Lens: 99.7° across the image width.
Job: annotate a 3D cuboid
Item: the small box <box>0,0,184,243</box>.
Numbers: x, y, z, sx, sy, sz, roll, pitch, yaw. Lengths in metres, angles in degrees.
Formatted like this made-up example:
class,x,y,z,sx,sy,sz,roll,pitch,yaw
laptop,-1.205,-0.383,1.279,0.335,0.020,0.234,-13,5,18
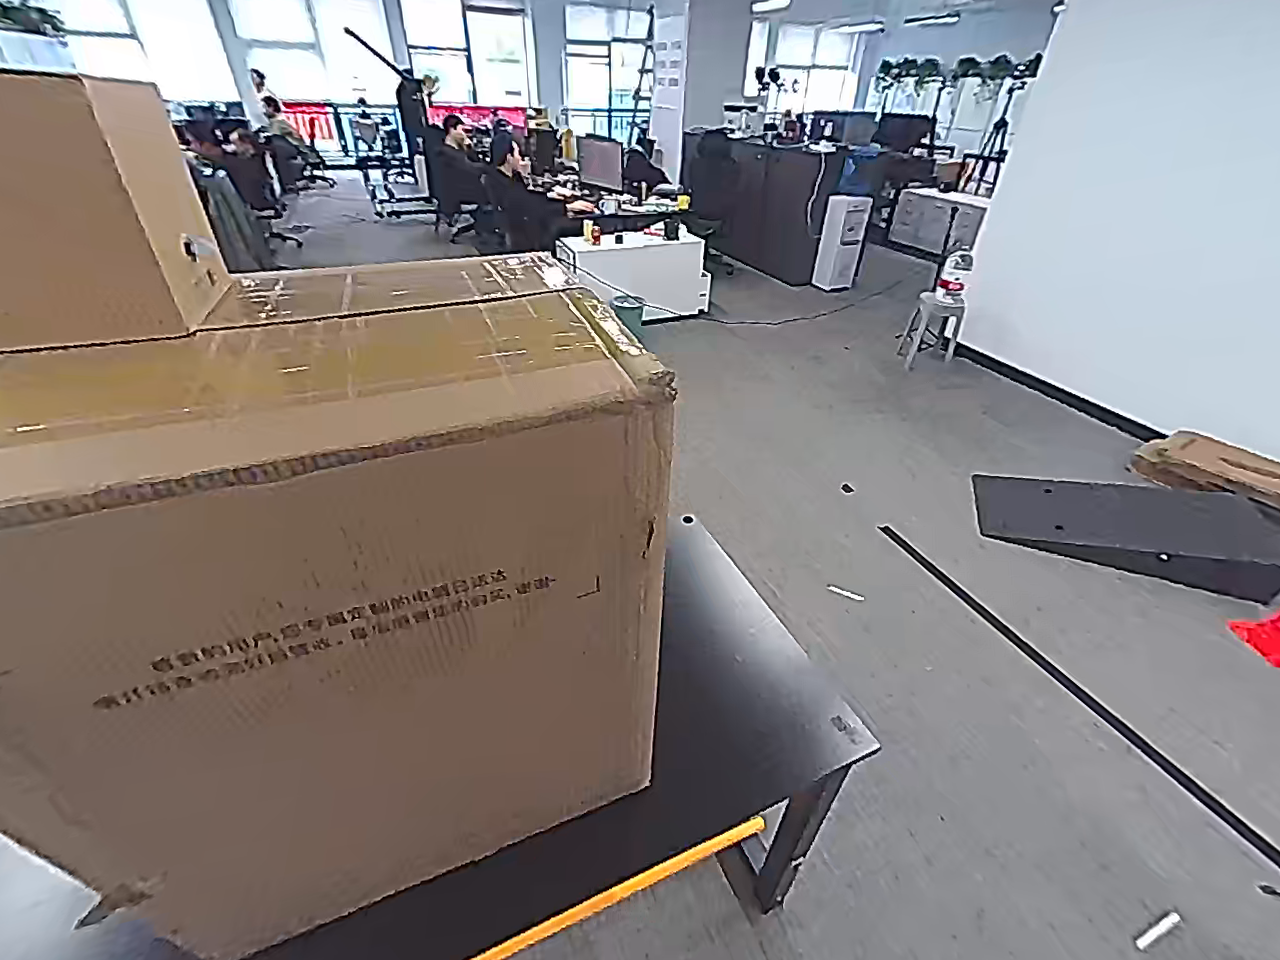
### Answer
class,x,y,z,sx,sy,sz,roll,pitch,yaw
small box,-0.434,-0.245,0.328,0.179,0.176,0.168,-11,36,-20
